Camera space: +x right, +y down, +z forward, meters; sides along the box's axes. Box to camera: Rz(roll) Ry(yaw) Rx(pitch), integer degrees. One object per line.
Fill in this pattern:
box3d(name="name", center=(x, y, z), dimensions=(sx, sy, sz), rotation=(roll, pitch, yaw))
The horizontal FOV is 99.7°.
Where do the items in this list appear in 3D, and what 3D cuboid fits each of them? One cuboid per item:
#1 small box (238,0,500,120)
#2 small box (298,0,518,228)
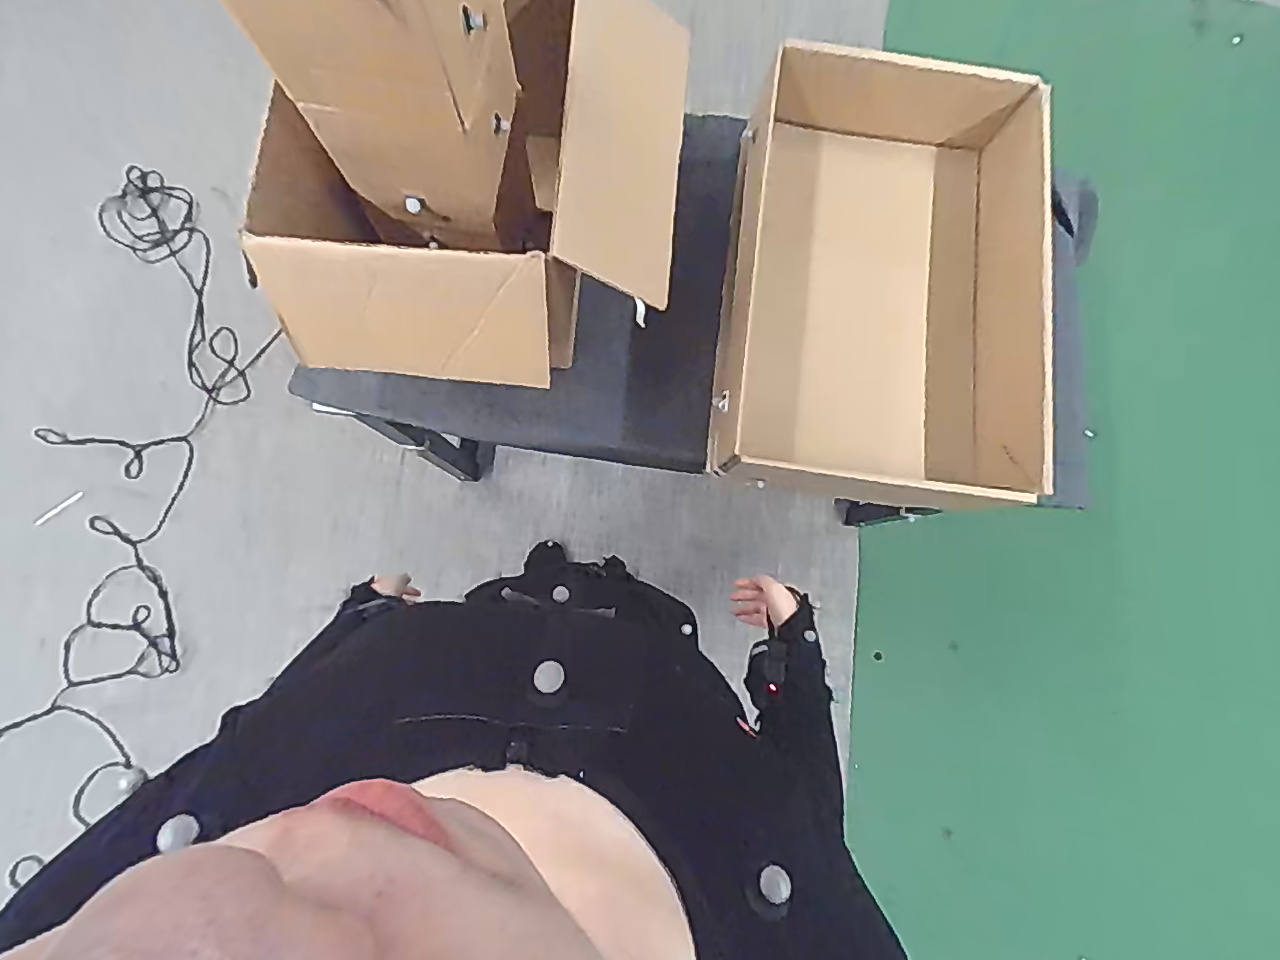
box3d(name="small box", center=(-0.232, -0.446, 0.453), dimensions=(0.179, 0.176, 0.168), rotation=(10, 81, -3))
box3d(name="small box", center=(-0.241, -0.424, 0.613), dimensions=(0.168, 0.176, 0.179), rotation=(9, 83, -2))
